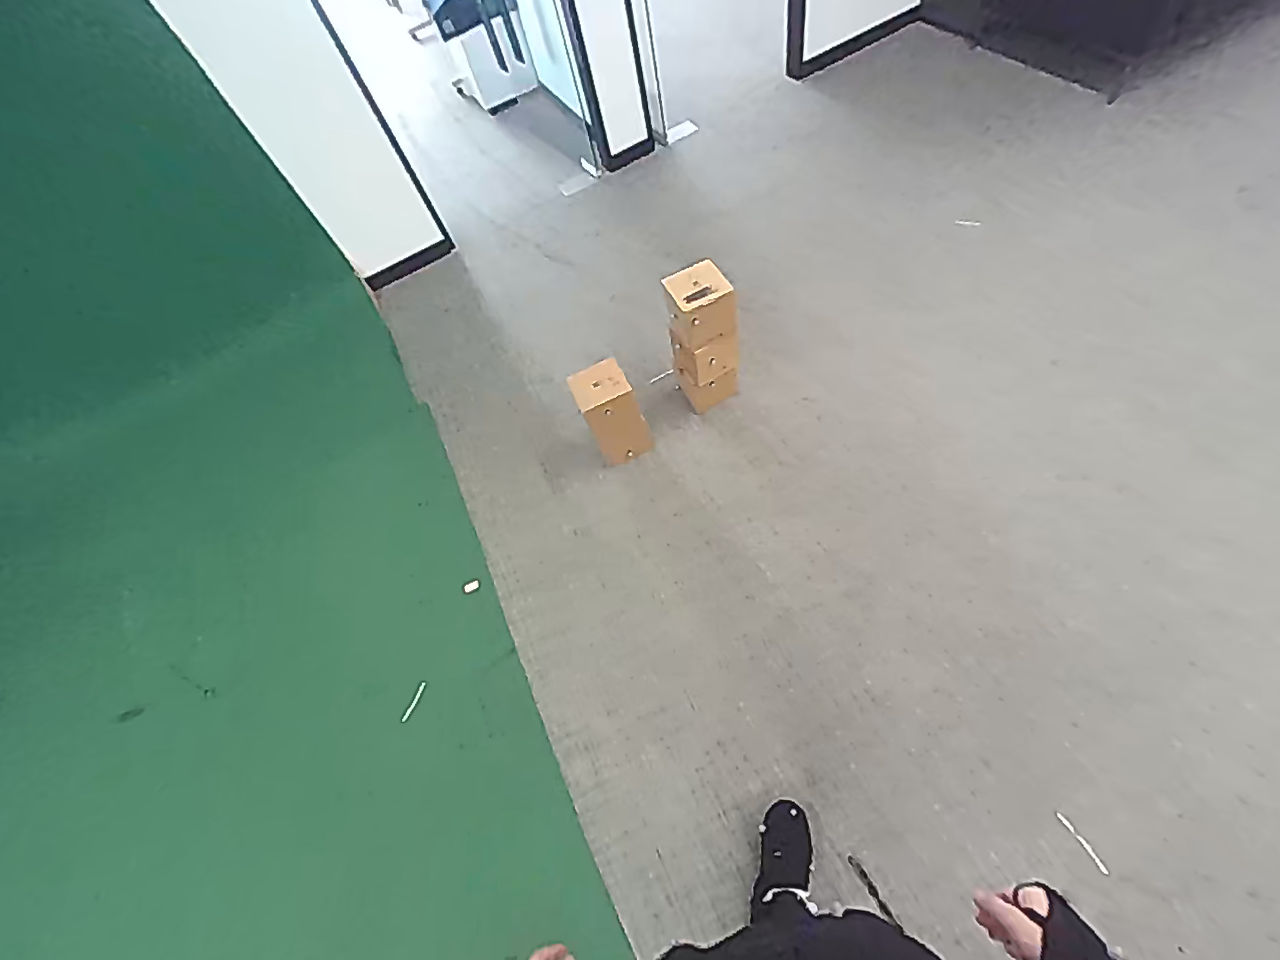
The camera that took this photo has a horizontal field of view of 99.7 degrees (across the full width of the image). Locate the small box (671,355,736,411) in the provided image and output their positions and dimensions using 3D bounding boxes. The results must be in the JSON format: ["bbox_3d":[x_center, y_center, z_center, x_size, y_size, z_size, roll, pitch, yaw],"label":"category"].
[{"bbox_3d":[0.236,-0.379,1.955,0.179,0.176,0.168,-27,57,-5],"label":"small box"}]

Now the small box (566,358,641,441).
[{"bbox_3d":[-0.115,-0.258,1.769,0.179,0.176,0.168,-25,58,-3],"label":"small box"}]

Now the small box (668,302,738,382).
[{"bbox_3d":[0.216,-0.452,1.811,0.168,0.176,0.179,-31,57,-6],"label":"small box"}]

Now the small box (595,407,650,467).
[{"bbox_3d":[-0.076,-0.178,1.908,0.179,0.176,0.168,-26,57,-3],"label":"small box"}]
